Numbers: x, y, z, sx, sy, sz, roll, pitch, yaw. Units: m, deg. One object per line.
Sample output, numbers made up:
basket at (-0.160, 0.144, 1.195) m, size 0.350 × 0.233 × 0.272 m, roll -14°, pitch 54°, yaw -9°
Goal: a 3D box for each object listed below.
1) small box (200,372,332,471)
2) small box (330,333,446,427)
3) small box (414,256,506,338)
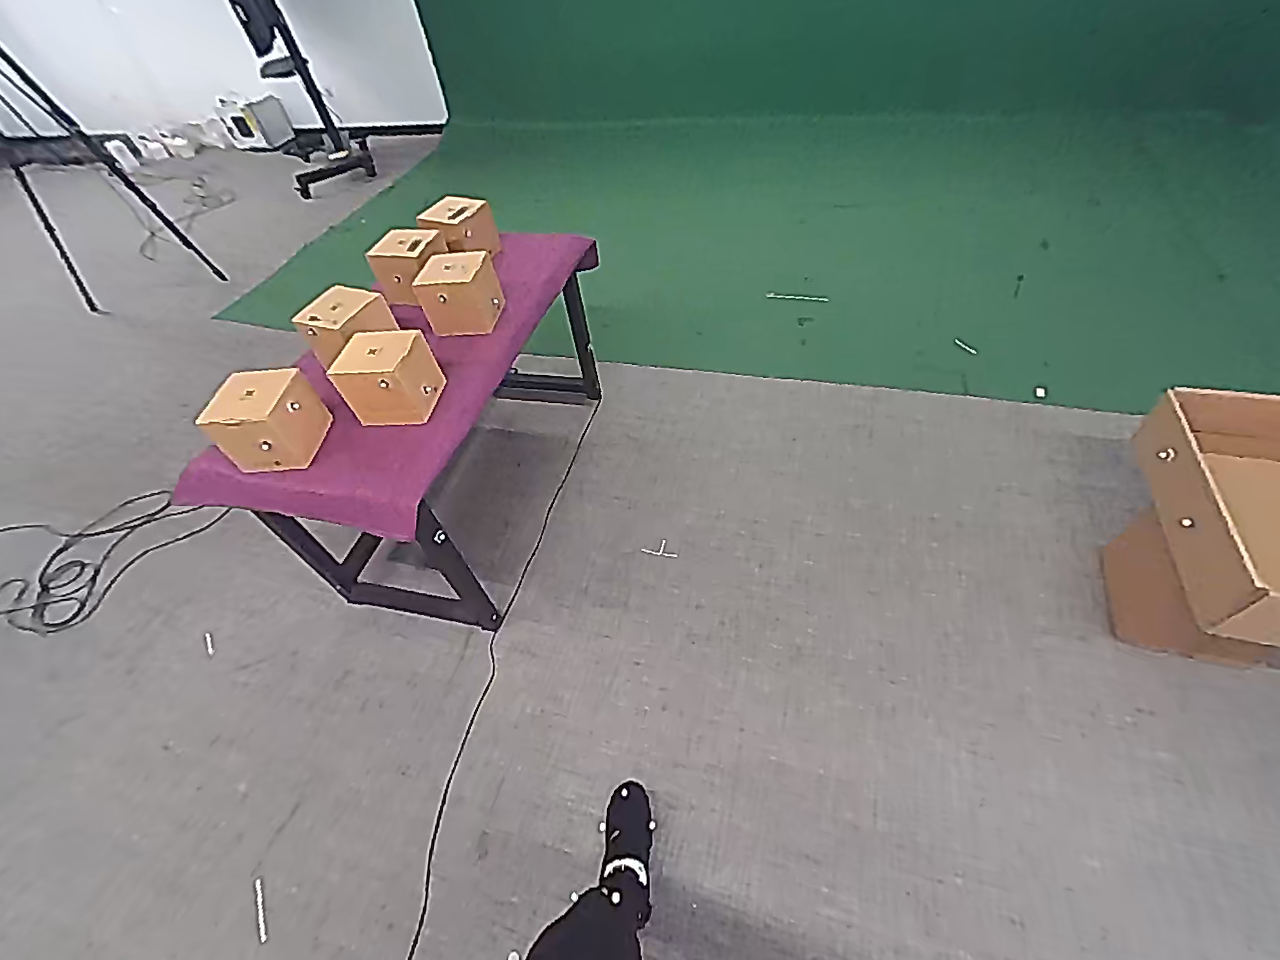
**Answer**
small box at (-0.870, -0.133, 1.283) m, size 0.168 × 0.176 × 0.179 m, roll -3°, pitch 49°, yaw 4°
small box at (-0.616, -0.244, 1.343) m, size 0.179 × 0.176 × 0.168 m, roll 0°, pitch 49°, yaw 8°
small box at (-0.514, -0.526, 1.568) m, size 0.179 × 0.176 × 0.168 m, roll 1°, pitch 51°, yaw 10°
